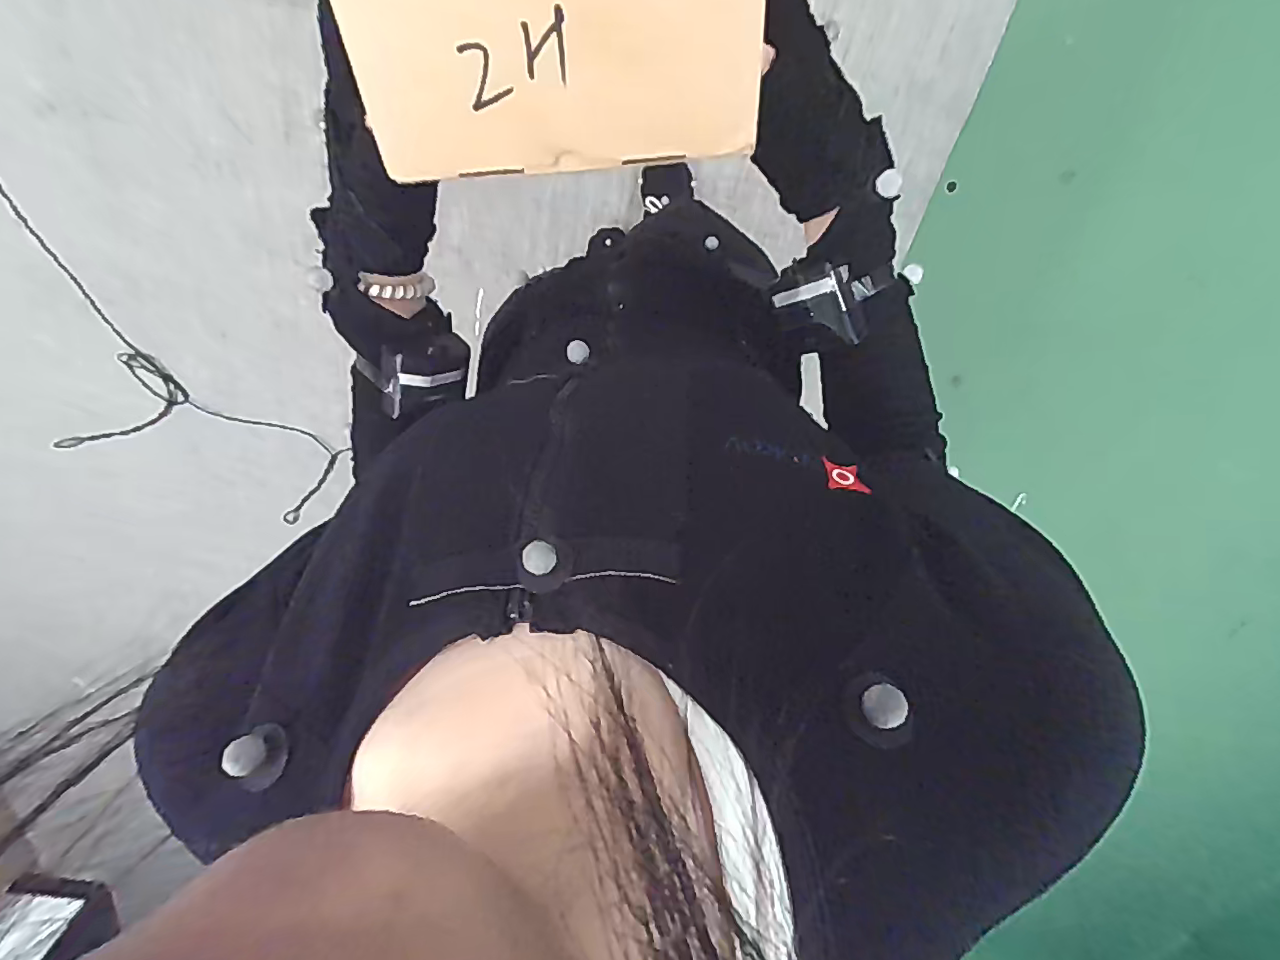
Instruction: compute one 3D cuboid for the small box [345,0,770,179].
[{"bbox_3d":[-0.037,-0.258,0.251,0.168,0.176,0.179,-4,130,1],"label":"small box"}]
